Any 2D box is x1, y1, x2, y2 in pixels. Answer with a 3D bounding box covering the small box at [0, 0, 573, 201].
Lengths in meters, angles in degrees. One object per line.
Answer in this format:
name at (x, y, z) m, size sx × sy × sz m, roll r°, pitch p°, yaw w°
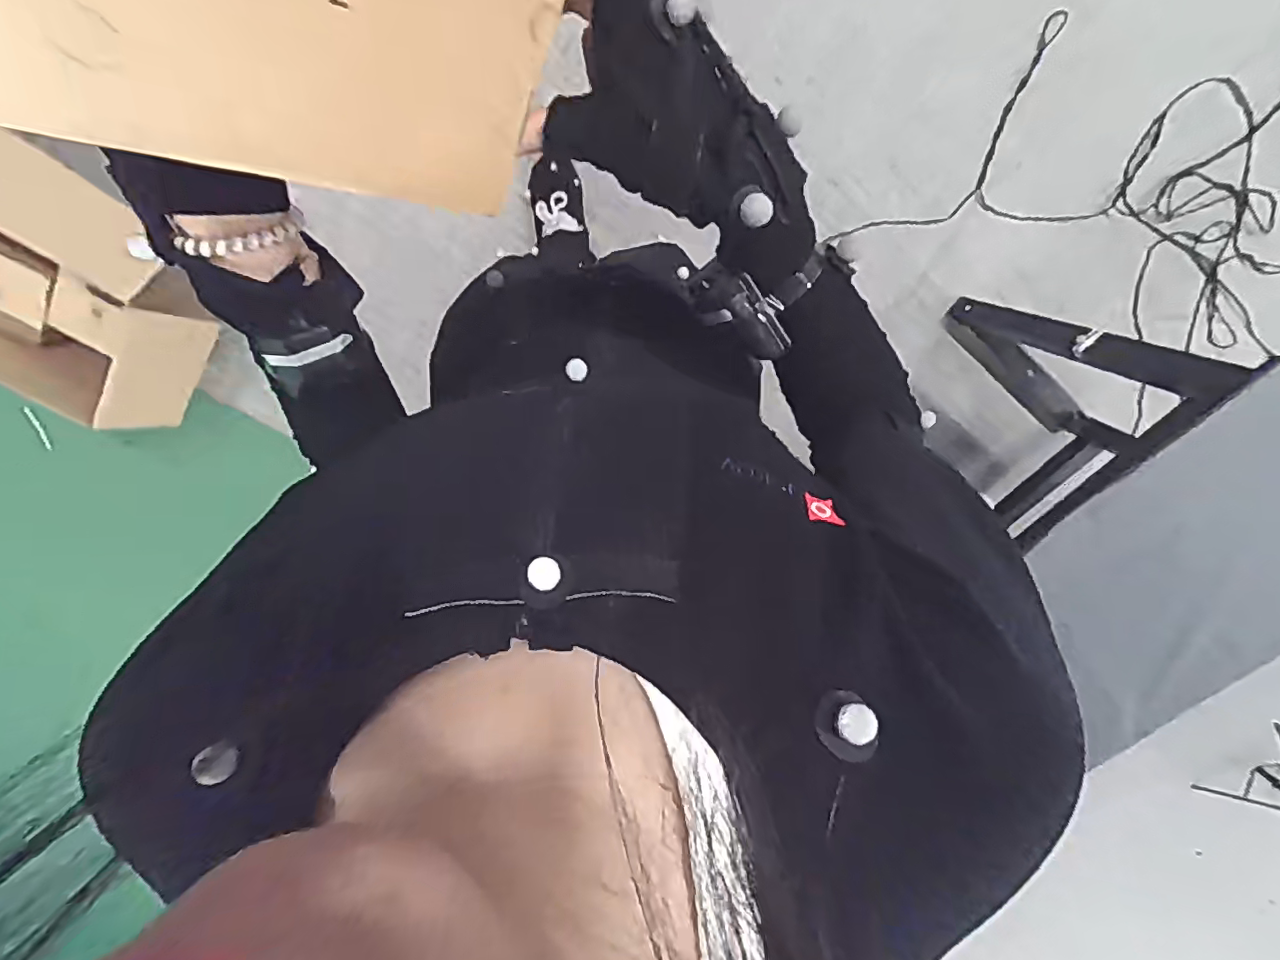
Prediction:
small box at (-0.127, -0.239, 0.189) m, size 0.179 × 0.176 × 0.168 m, roll -7°, pitch 151°, yaw -35°
